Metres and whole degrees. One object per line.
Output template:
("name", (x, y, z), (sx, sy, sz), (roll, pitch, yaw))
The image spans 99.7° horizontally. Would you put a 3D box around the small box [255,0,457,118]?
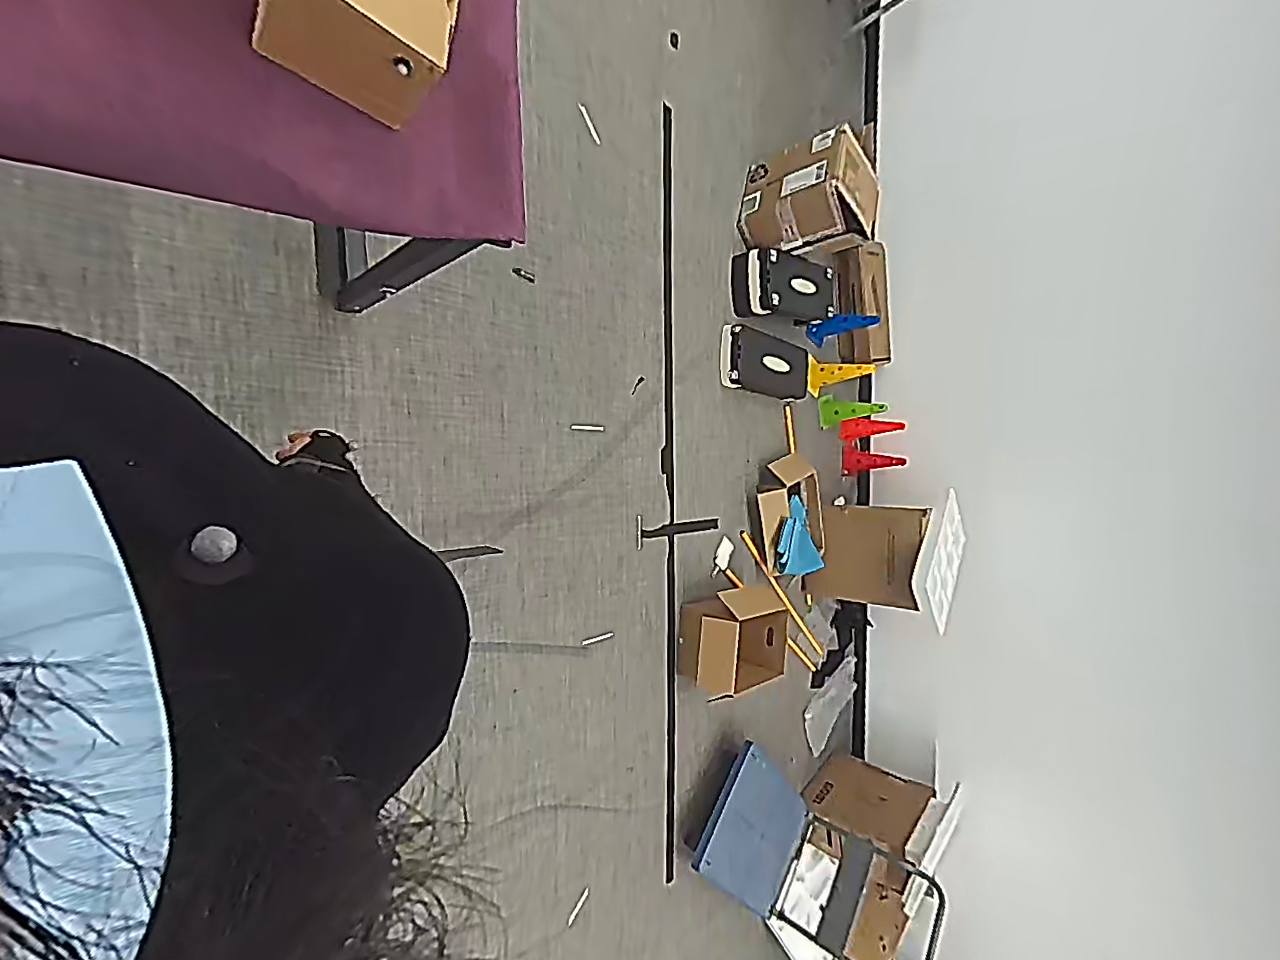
("small box", (-0.341, -0.588, 0.654), (0.179, 0.176, 0.168), (10, 85, -45))
